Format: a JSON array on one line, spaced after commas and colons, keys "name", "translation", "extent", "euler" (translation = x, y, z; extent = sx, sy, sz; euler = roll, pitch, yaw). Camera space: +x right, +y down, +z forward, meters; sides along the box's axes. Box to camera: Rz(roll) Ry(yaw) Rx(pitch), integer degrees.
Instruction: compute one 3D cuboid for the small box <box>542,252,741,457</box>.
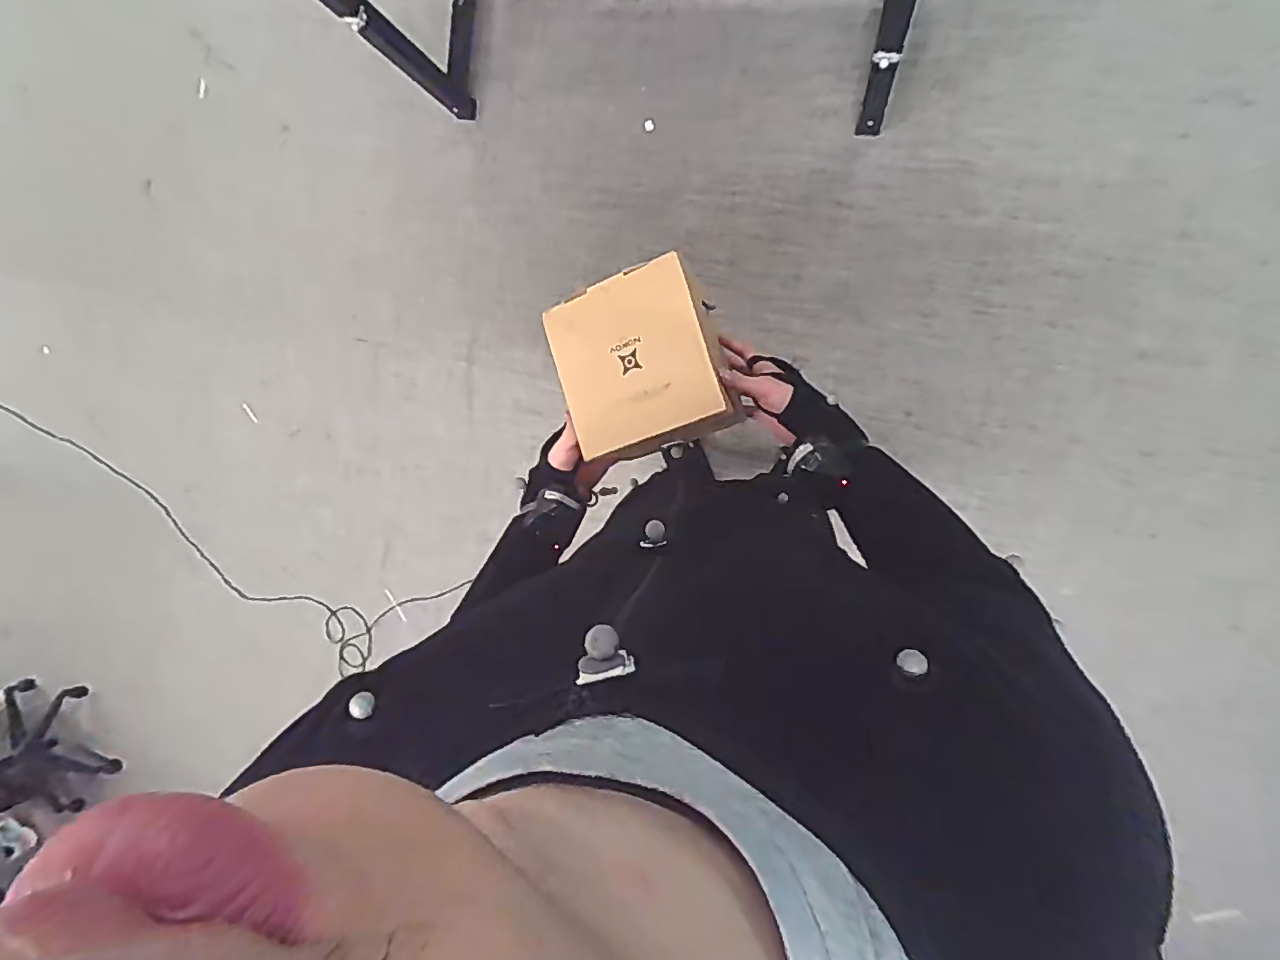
[{"name": "small box", "translation": [0.011, -0.132, 0.648], "extent": [0.168, 0.176, 0.179], "euler": [-18, 86, 18]}]
